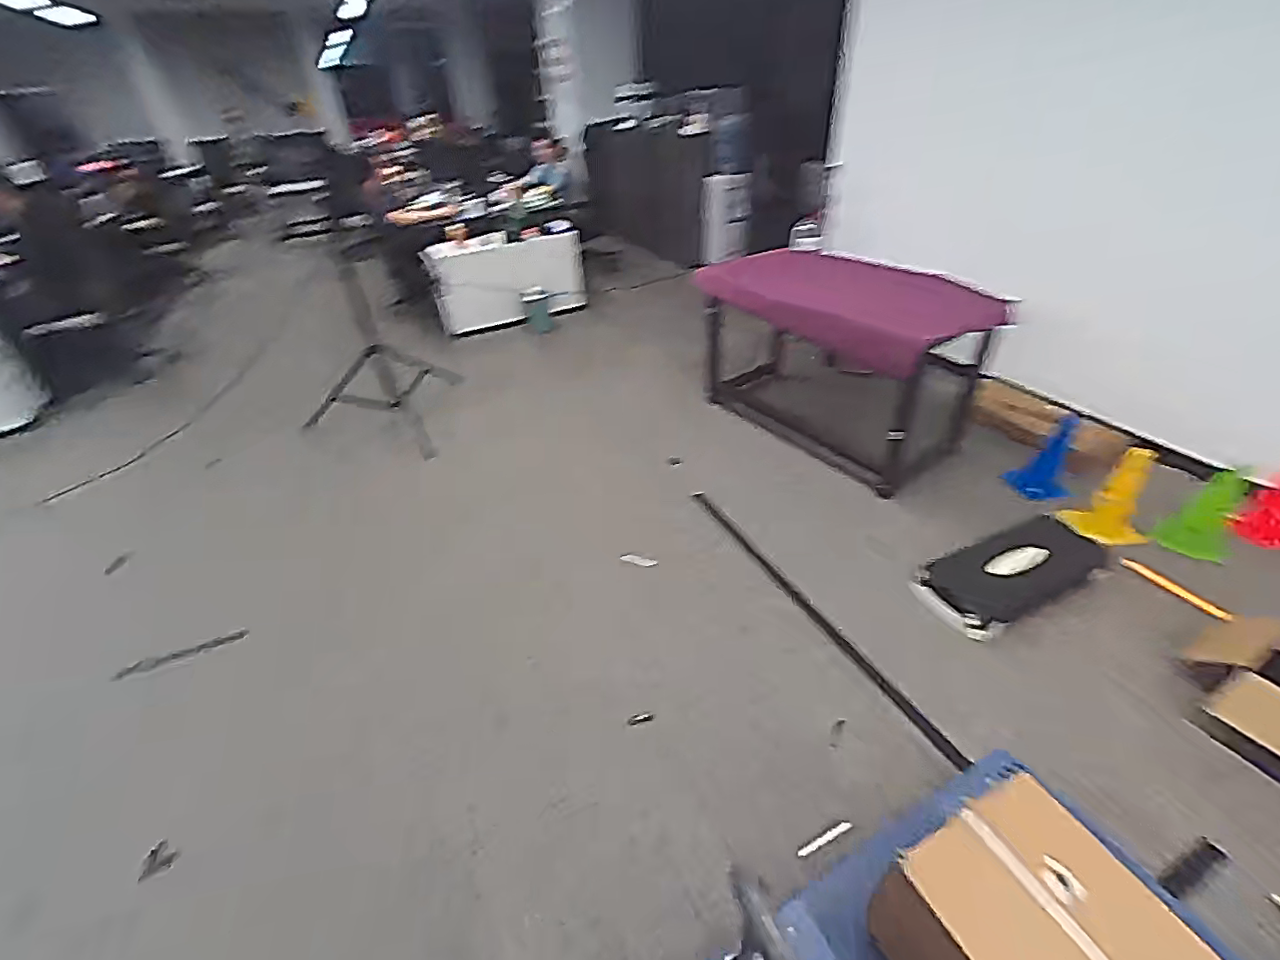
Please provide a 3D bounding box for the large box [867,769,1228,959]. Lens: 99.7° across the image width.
[{"bbox_3d":[0.645,0.782,0.860,0.320,0.320,0.408,-18,38,-19],"label":"large box"}]
